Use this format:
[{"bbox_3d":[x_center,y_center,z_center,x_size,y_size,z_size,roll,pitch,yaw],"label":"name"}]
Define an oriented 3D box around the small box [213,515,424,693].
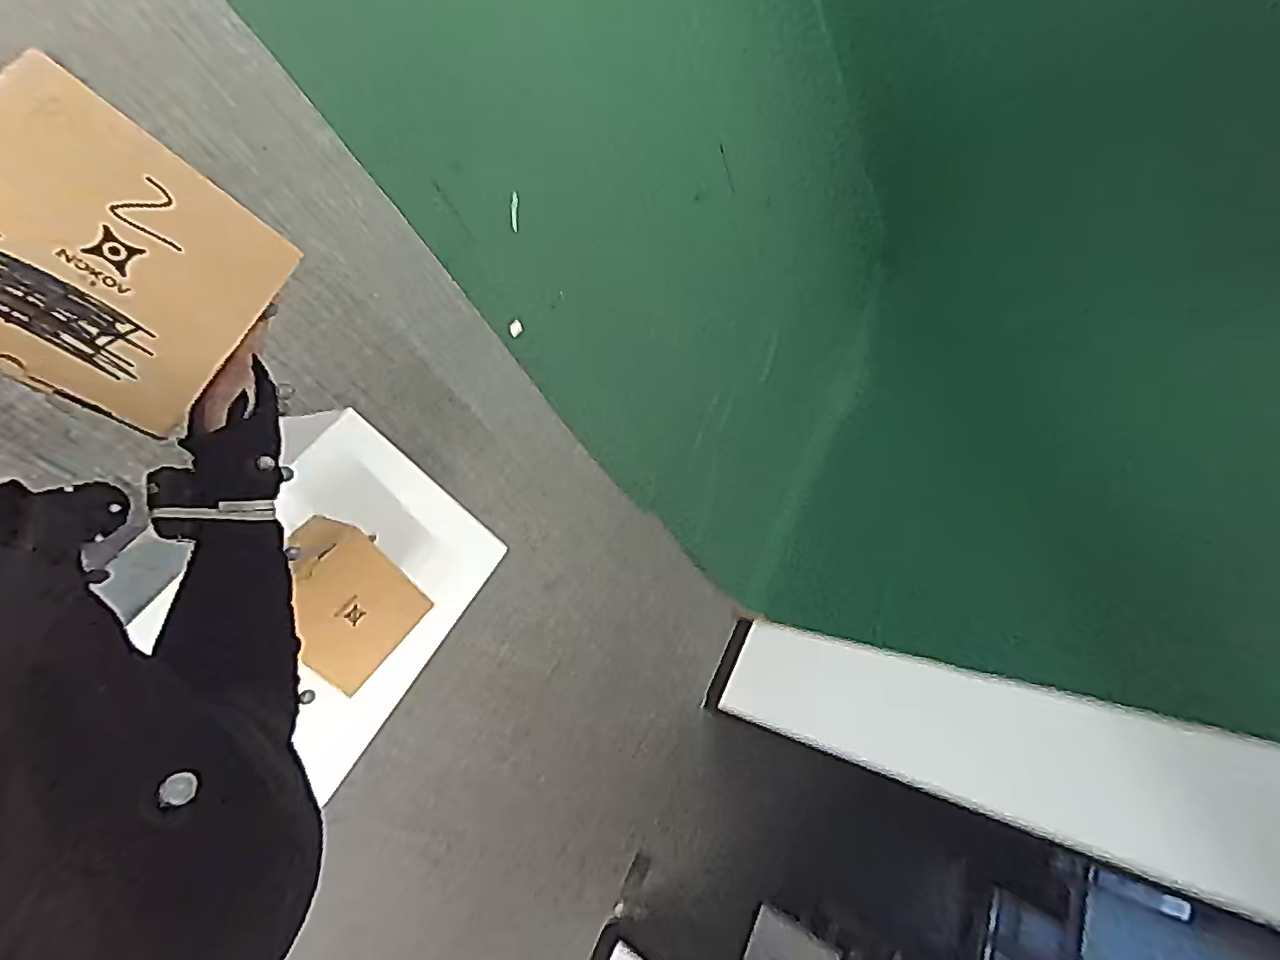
[{"bbox_3d":[-0.461,0.167,0.780,0.168,0.176,0.179,-52,128,-32],"label":"small box"}]
